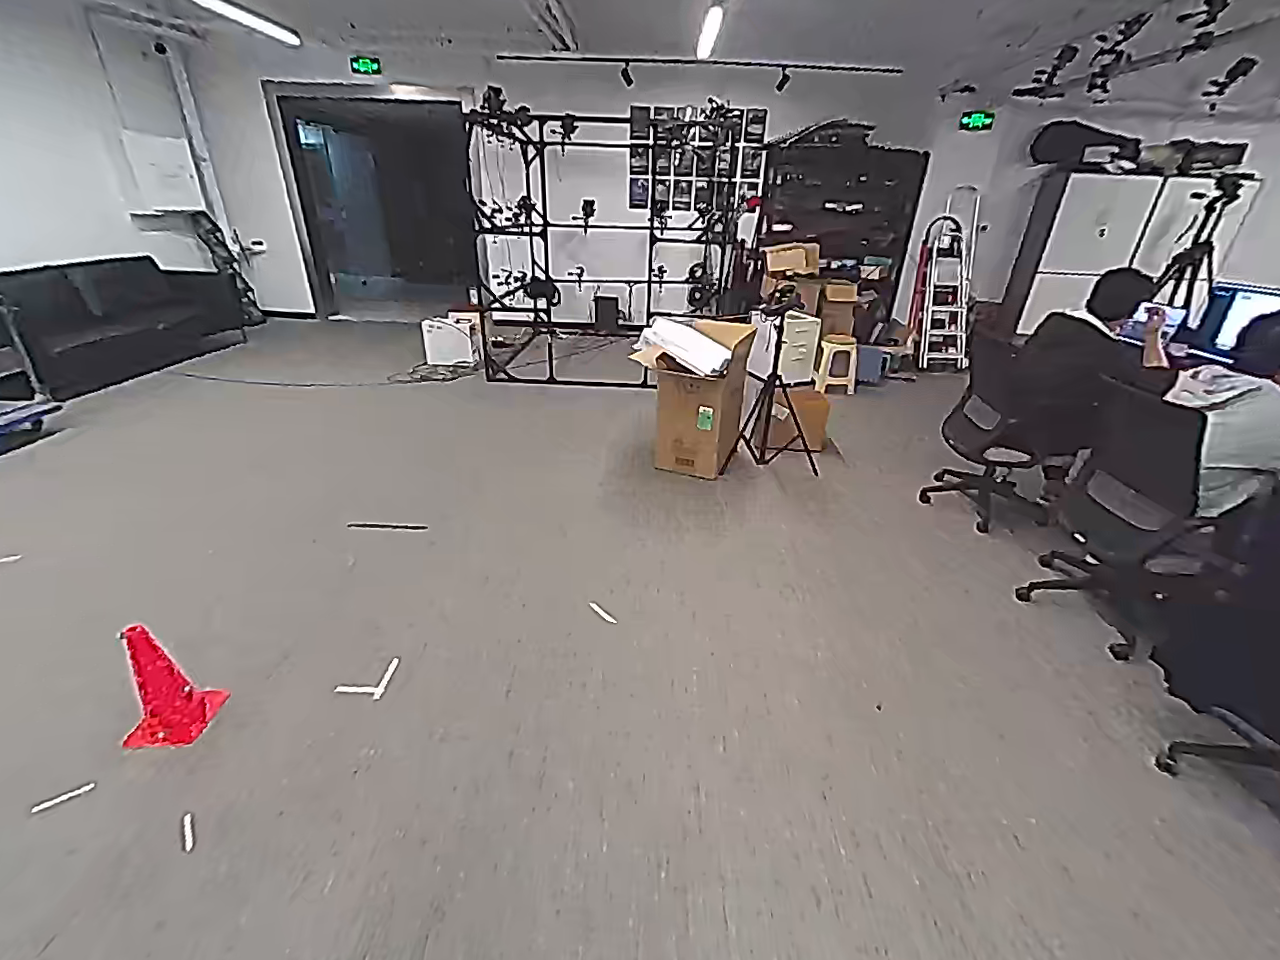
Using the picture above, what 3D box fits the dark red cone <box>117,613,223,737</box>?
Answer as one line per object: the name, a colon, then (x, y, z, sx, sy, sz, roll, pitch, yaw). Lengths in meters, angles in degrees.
dark red cone: (-1.401, 0.543, 1.556, 0.202, 0.394, 0.201, 0, 28, -5)
